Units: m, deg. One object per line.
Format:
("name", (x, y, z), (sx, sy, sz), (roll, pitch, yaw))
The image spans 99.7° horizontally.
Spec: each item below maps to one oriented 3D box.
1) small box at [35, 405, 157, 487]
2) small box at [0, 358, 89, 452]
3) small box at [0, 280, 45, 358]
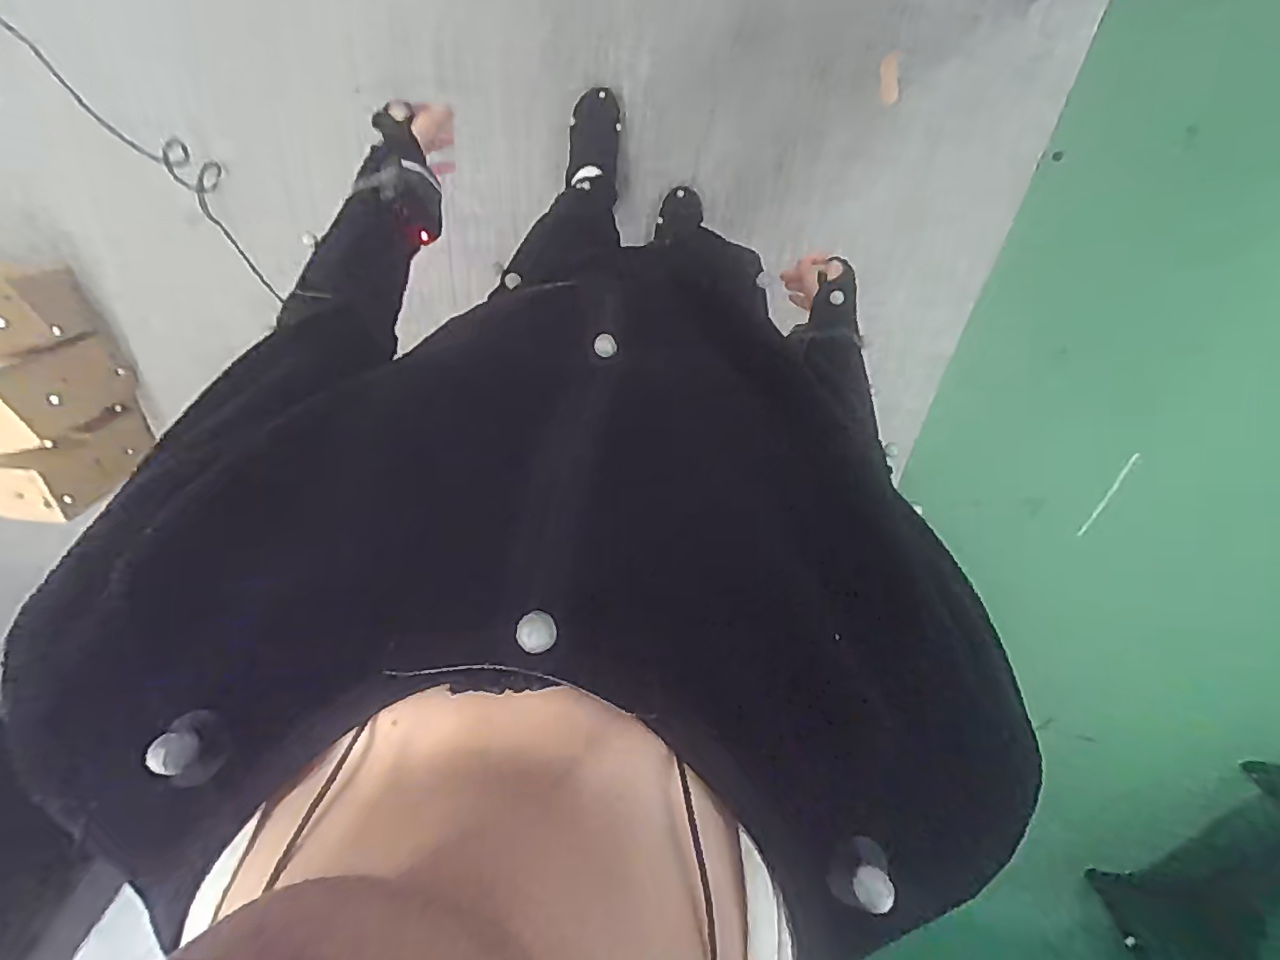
("small box", (-1.569, -0.103, 1.563), (0.168, 0.176, 0.179), (5, 124, -1))
("small box", (-1.518, -0.183, 1.315), (0.179, 0.176, 0.168), (-9, 123, 8))
("small box", (-1.512, -0.346, 1.204), (0.179, 0.176, 0.168), (-15, 121, 12))
